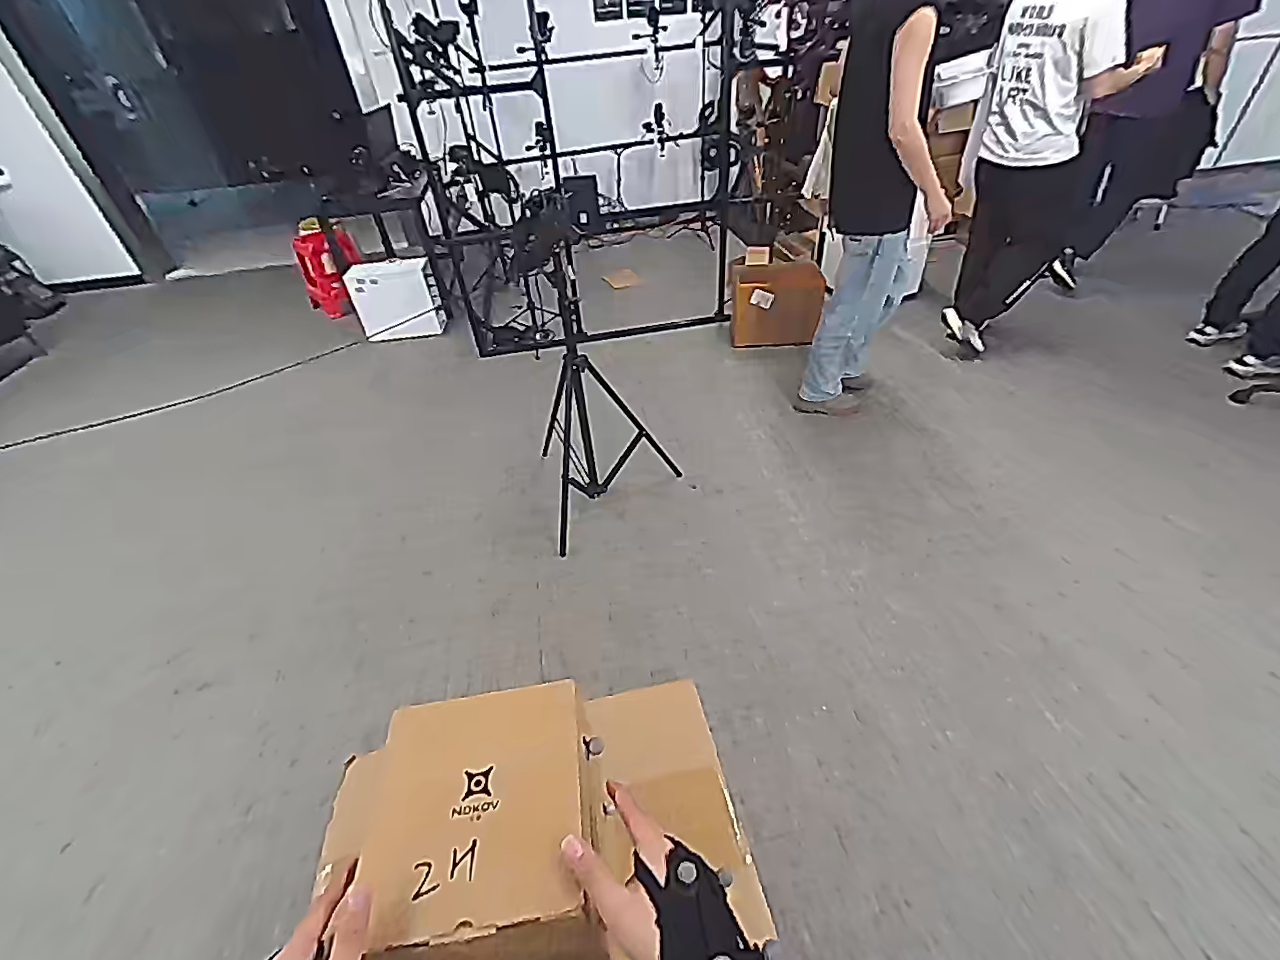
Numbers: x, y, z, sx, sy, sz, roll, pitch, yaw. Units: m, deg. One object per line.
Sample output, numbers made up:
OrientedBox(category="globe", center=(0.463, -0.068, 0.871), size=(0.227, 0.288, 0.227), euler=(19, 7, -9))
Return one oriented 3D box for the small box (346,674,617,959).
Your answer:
OrientedBox(category="small box", center=(-0.115, 0.301, 0.468), size=(0.168, 0.176, 0.179), euler=(-9, 39, -3))
